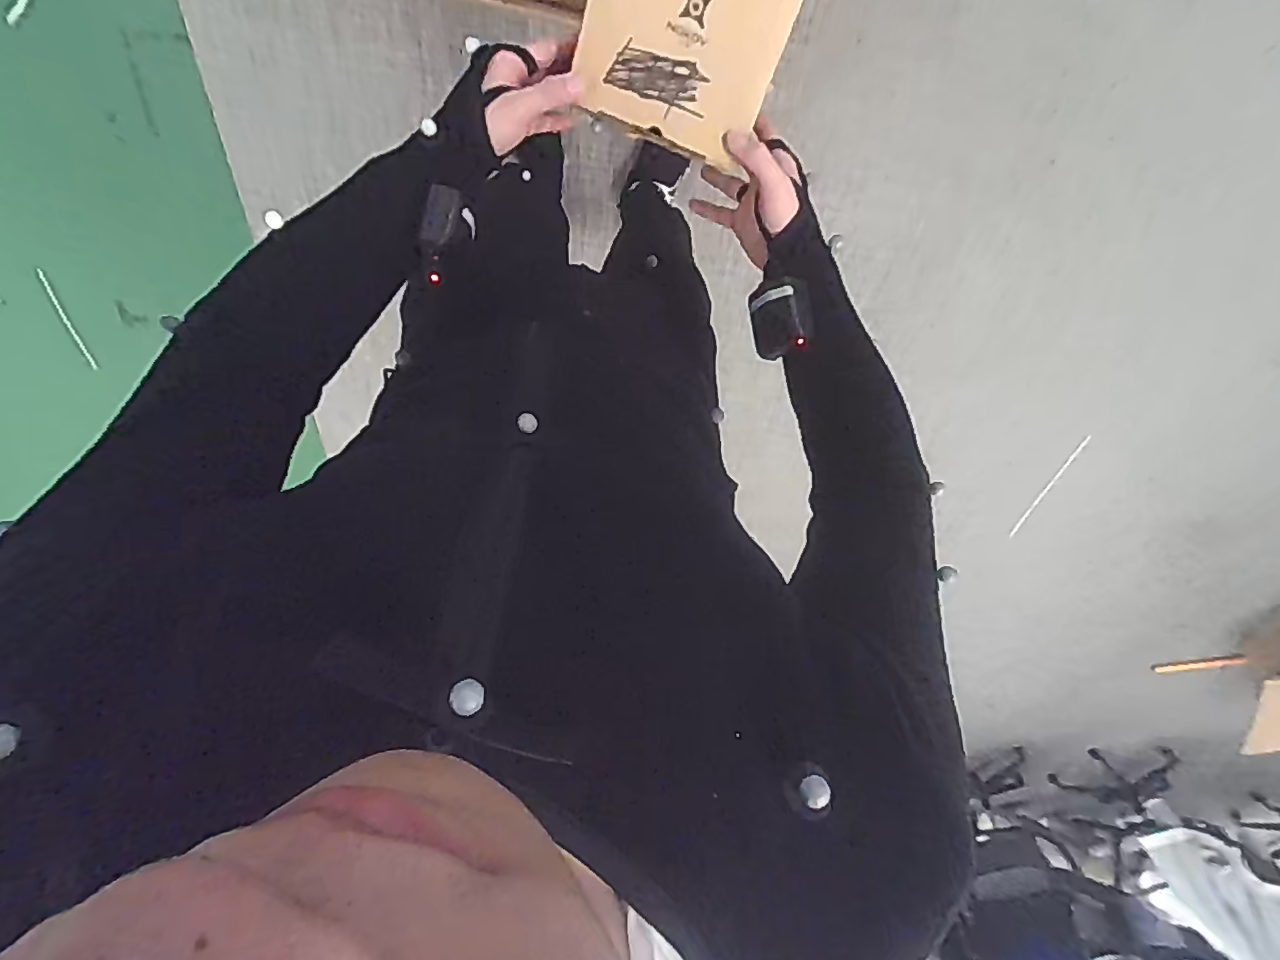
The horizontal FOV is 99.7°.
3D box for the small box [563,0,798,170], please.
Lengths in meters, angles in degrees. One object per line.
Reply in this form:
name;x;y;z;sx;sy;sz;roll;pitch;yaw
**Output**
small box;0.033;-0.422;0.511;0.168;0.176;0.179;15;120;-14
